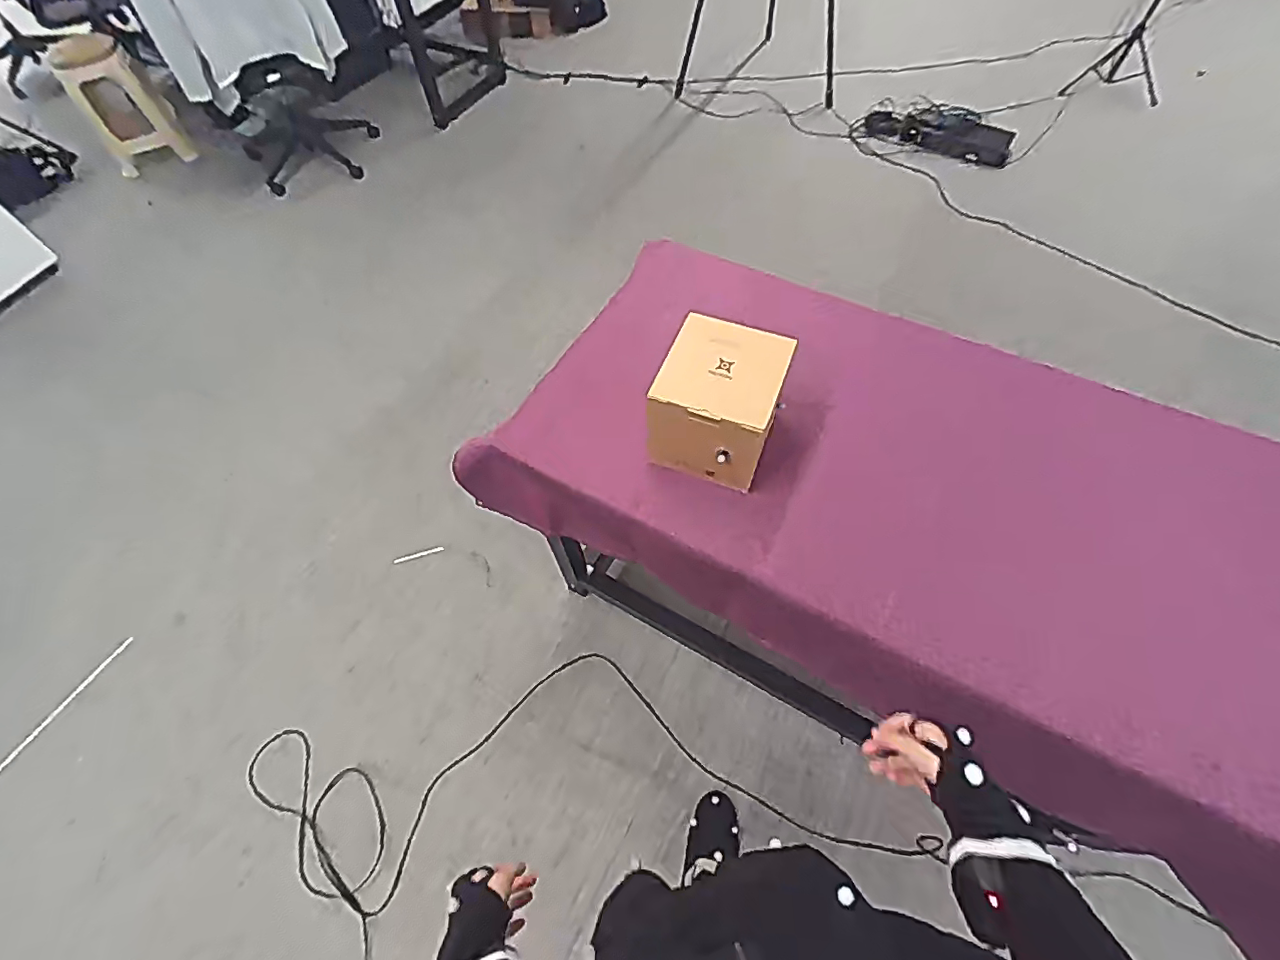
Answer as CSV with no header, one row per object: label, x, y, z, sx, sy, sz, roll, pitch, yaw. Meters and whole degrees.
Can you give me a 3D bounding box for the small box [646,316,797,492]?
small box,0.119,-0.109,0.816,0.168,0.176,0.179,20,61,13
